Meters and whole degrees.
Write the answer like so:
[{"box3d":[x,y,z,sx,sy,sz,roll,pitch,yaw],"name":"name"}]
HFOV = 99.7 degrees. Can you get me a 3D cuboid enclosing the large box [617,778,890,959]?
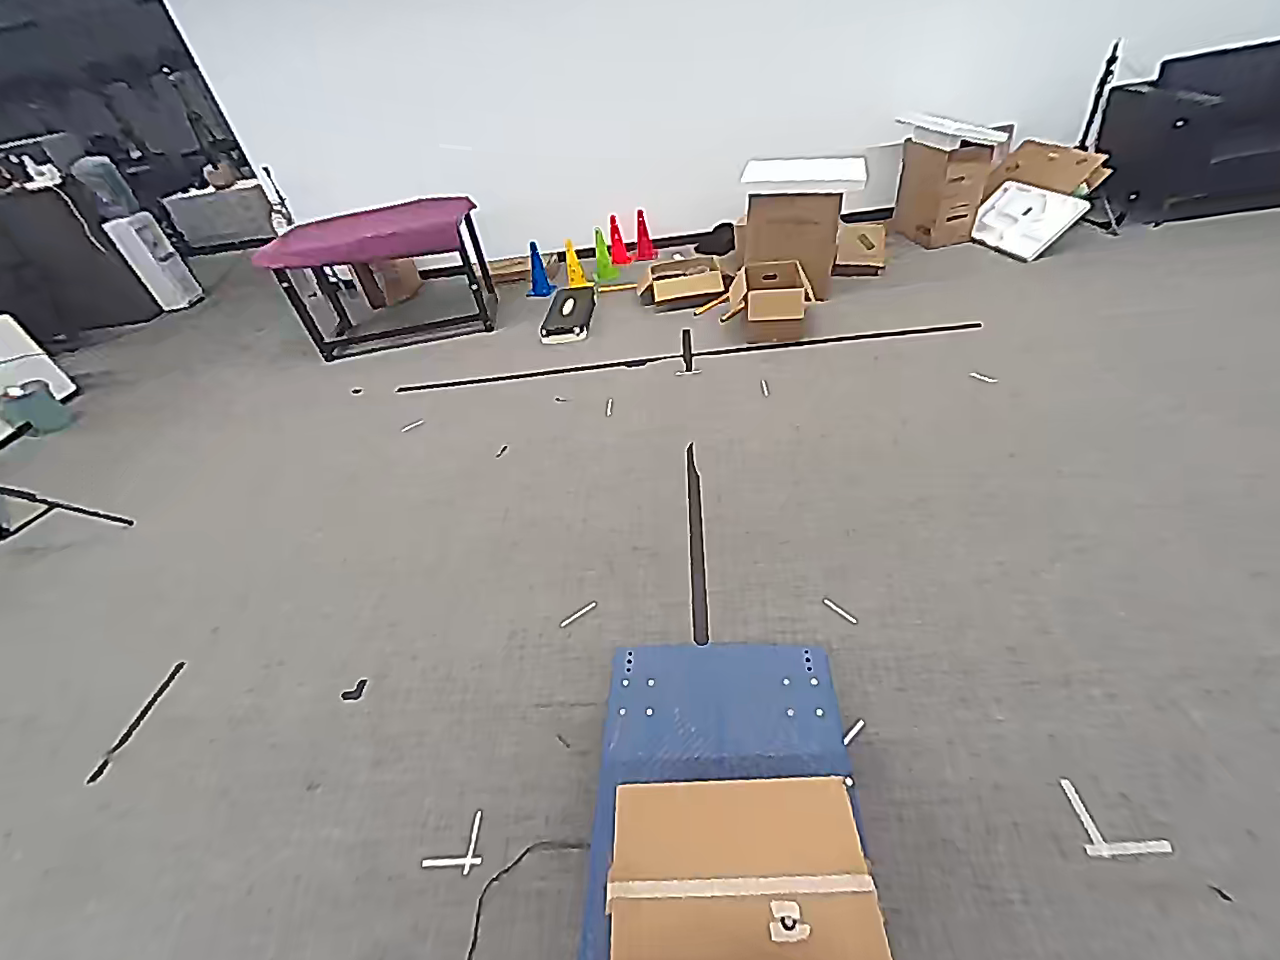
[{"box3d":[0.177,0.759,0.949,0.408,0.320,0.320,-5,41,4],"name":"large box"}]
